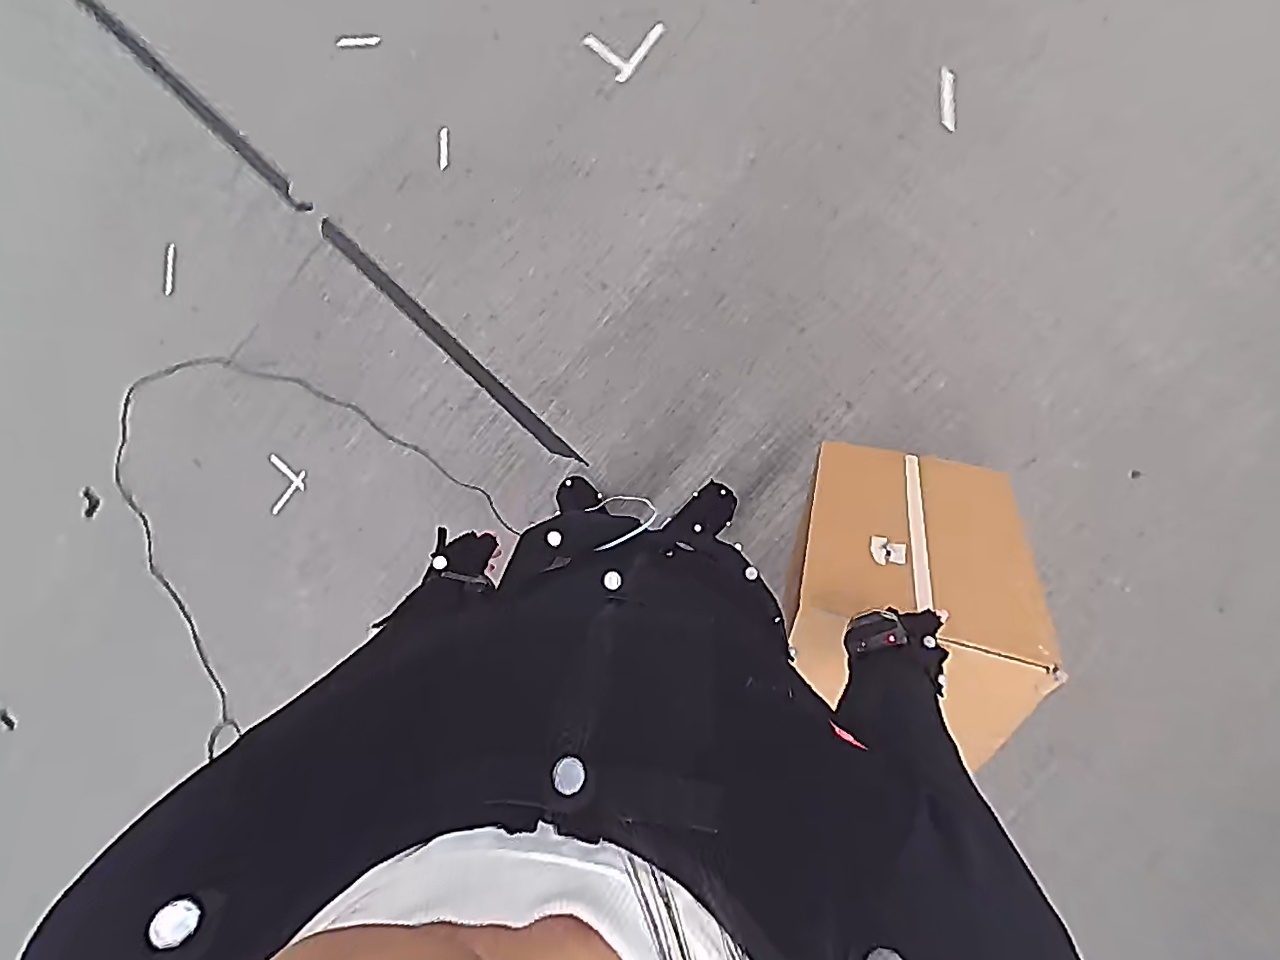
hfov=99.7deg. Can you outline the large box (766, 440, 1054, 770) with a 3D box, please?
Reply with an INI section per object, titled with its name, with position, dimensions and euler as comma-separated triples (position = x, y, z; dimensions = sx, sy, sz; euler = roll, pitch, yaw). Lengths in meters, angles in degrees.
[large box]
position = 0.413, 0.189, 0.919
dimensions = 0.320, 0.408, 0.320
euler = 11, 132, 16
